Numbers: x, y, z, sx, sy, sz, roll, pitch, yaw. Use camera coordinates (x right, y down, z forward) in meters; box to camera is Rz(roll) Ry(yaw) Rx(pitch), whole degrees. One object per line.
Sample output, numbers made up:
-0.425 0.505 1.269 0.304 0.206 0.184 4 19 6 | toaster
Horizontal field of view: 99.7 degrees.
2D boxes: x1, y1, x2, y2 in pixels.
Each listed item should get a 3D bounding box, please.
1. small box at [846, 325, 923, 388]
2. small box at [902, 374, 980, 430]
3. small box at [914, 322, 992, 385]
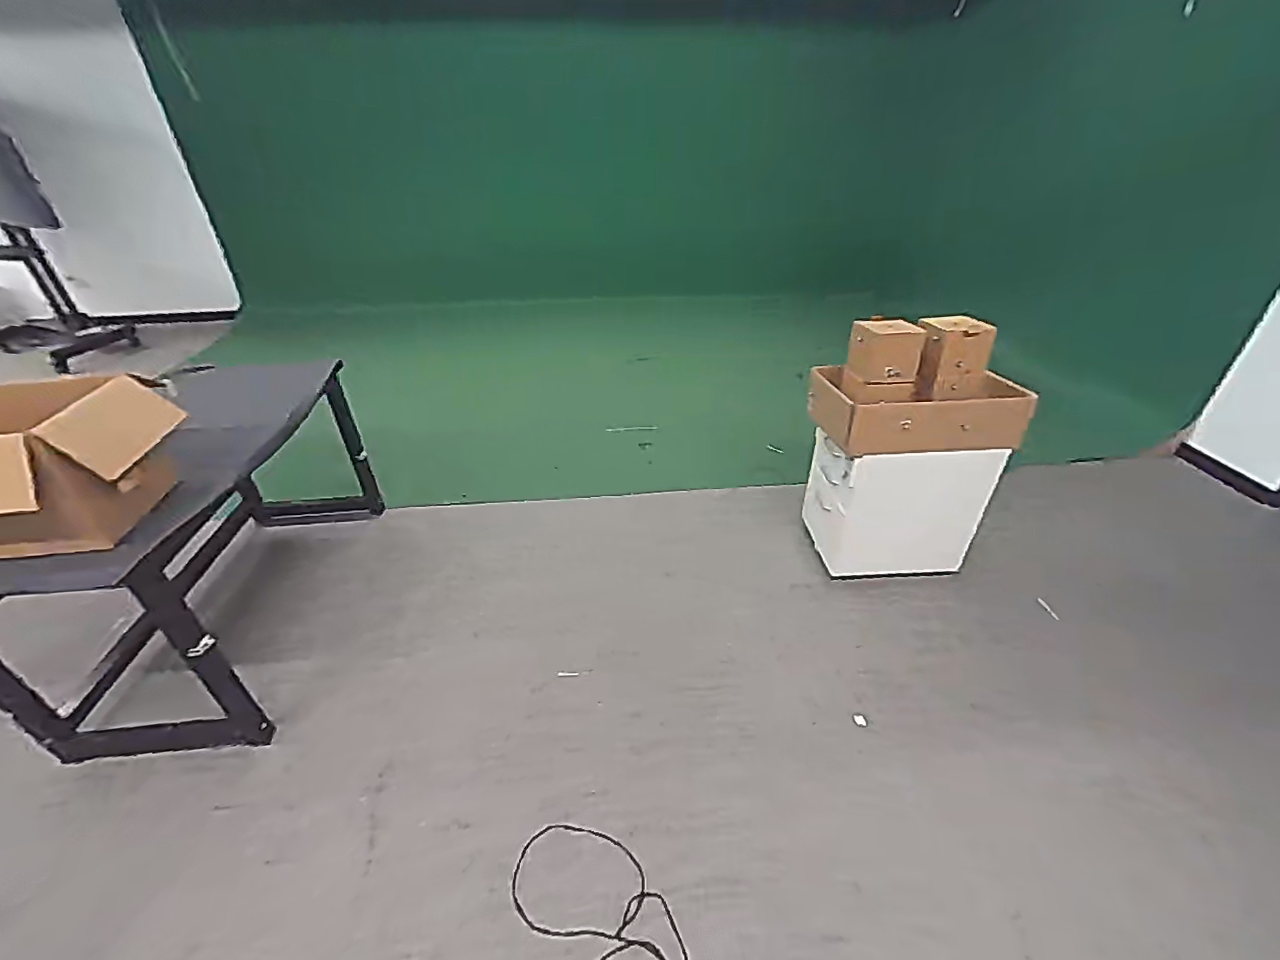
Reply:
0.810 -0.415 1.814 0.168 0.176 0.179 -4 29 -3 | small box
1.054 -0.287 1.910 0.168 0.176 0.179 -6 28 -1 | small box
1.042 -0.432 1.835 0.168 0.176 0.179 -5 29 -3 | small box
